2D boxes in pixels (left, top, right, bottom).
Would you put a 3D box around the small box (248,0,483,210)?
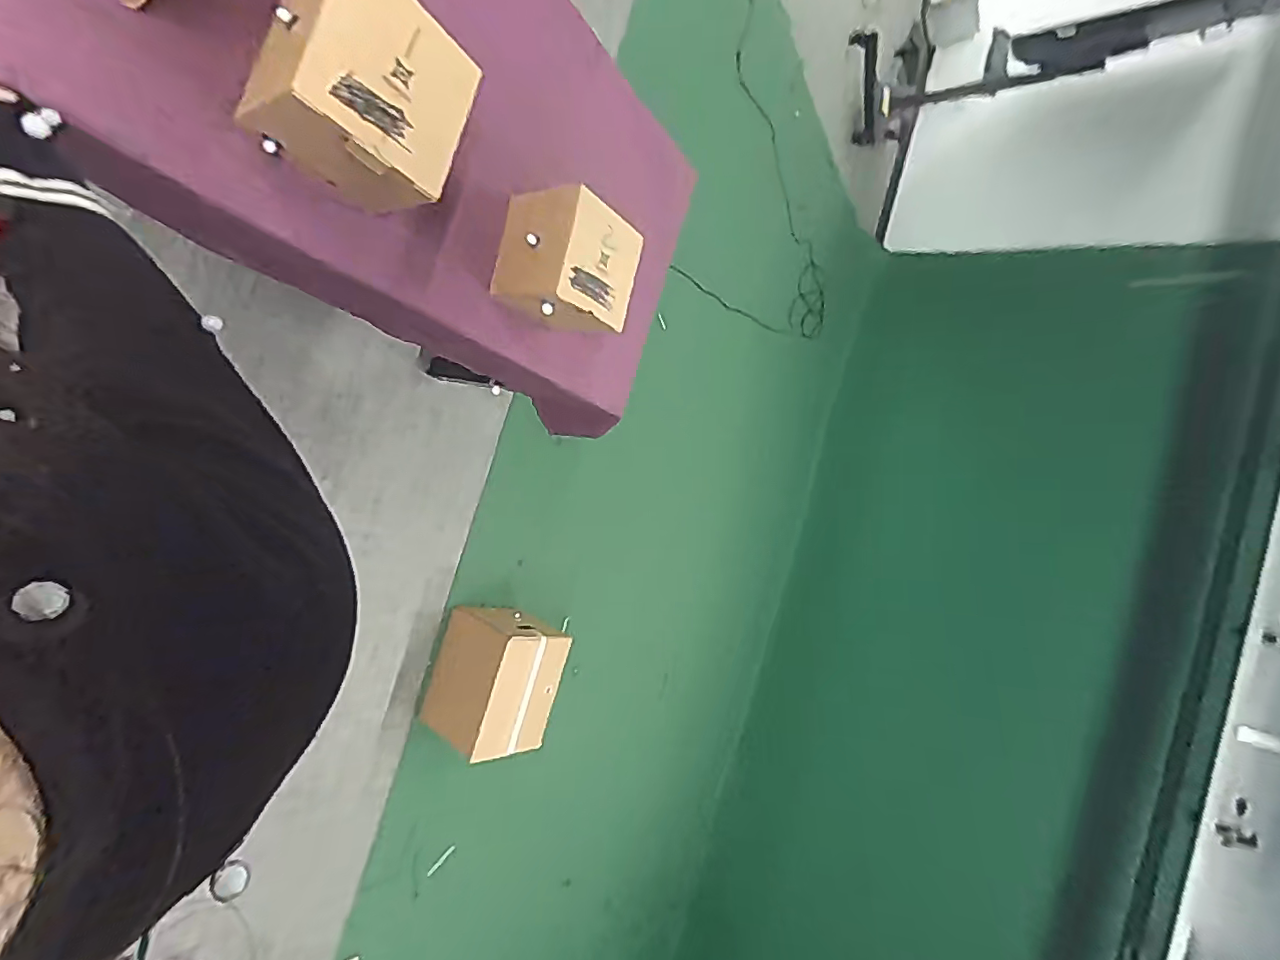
[{"bbox_3d":[-0.321,-0.443,0.630,0.168,0.176,0.179,22,83,-54],"label":"small box"}]
